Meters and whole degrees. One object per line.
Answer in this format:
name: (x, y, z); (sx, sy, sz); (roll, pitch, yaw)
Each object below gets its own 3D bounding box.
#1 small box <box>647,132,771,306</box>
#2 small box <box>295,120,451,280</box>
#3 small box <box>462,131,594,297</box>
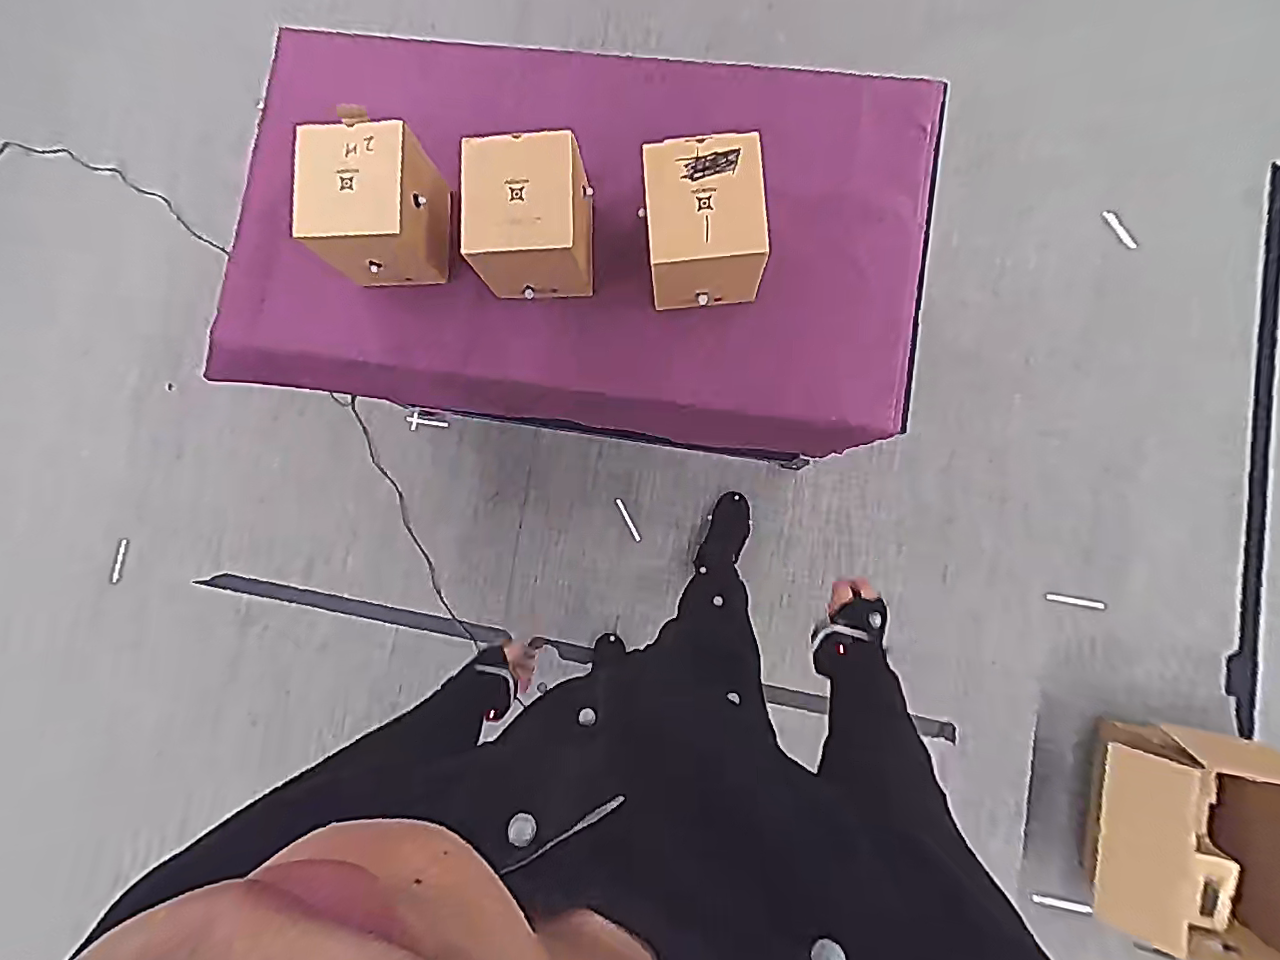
small box: (0.098, -0.388, 0.830); (0.168, 0.176, 0.179); (-4, 86, 4)
small box: (-0.418, -0.437, 0.871); (0.168, 0.176, 0.179); (0, 85, 3)
small box: (-0.167, -0.408, 0.852); (0.168, 0.176, 0.179); (-1, 85, 5)
